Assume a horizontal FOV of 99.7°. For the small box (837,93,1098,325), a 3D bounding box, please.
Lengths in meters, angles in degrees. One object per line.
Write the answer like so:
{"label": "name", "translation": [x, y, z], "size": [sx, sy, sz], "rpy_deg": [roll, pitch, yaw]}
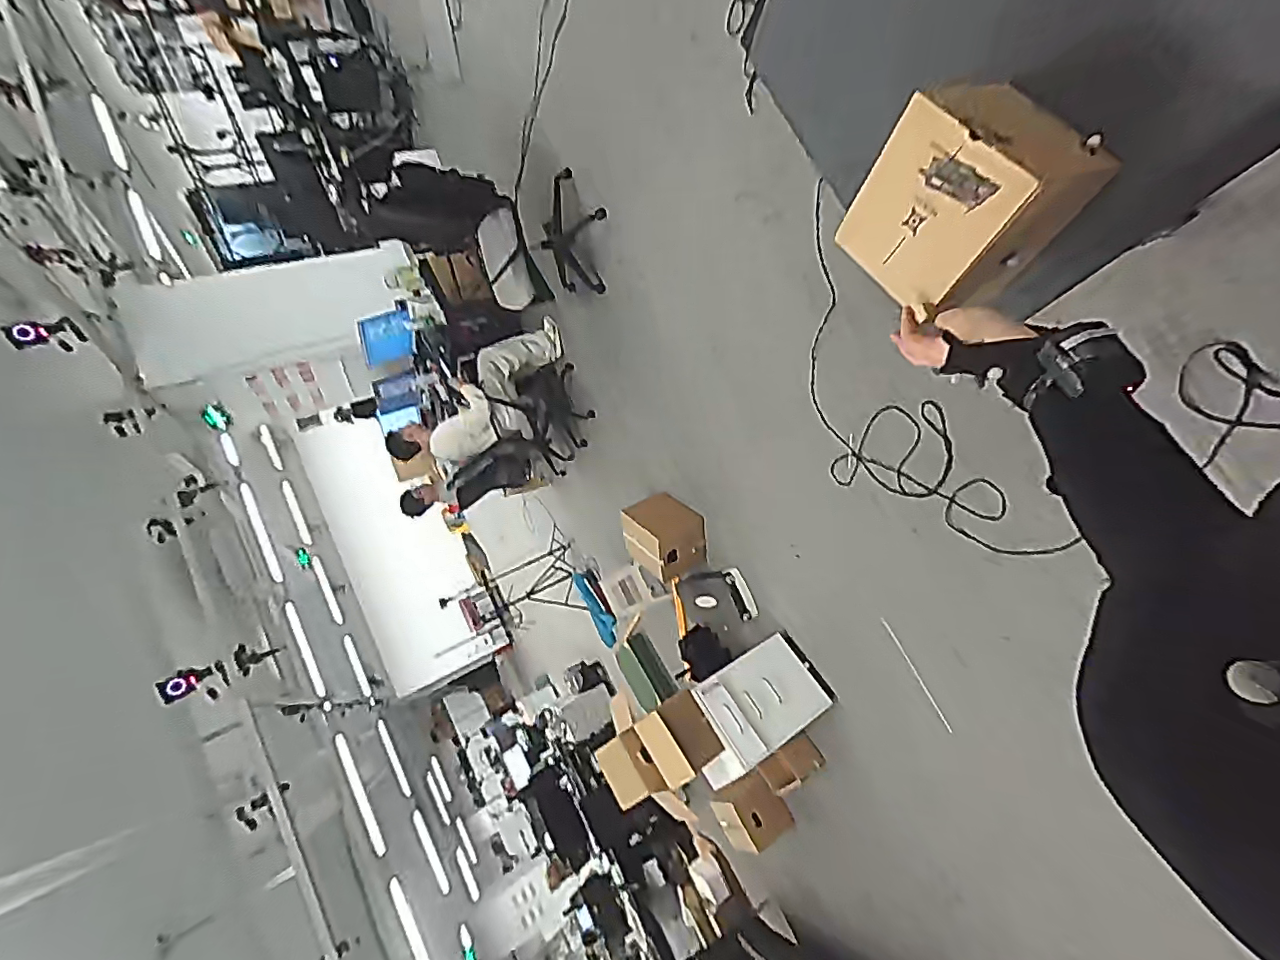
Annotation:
{"label": "small box", "translation": [0.379, -0.319, 0.632], "size": [0.168, 0.176, 0.179], "rpy_deg": [57, 153, 20]}
